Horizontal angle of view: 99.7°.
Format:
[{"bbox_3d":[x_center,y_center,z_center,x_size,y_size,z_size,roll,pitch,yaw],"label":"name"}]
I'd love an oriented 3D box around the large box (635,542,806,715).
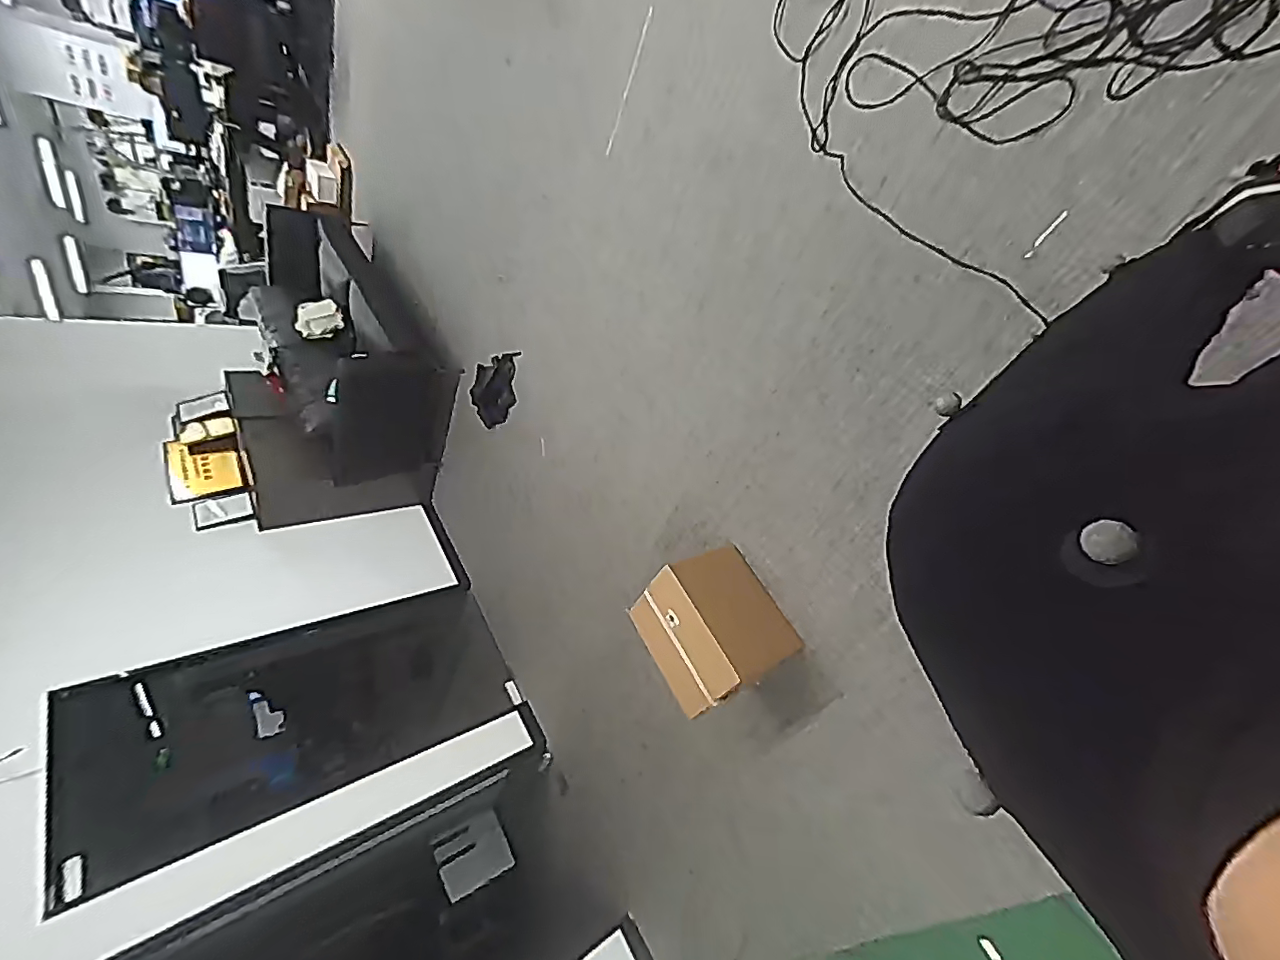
[{"bbox_3d":[0.254,0.474,1.774,0.408,0.320,0.320,57,136,27],"label":"large box"}]
